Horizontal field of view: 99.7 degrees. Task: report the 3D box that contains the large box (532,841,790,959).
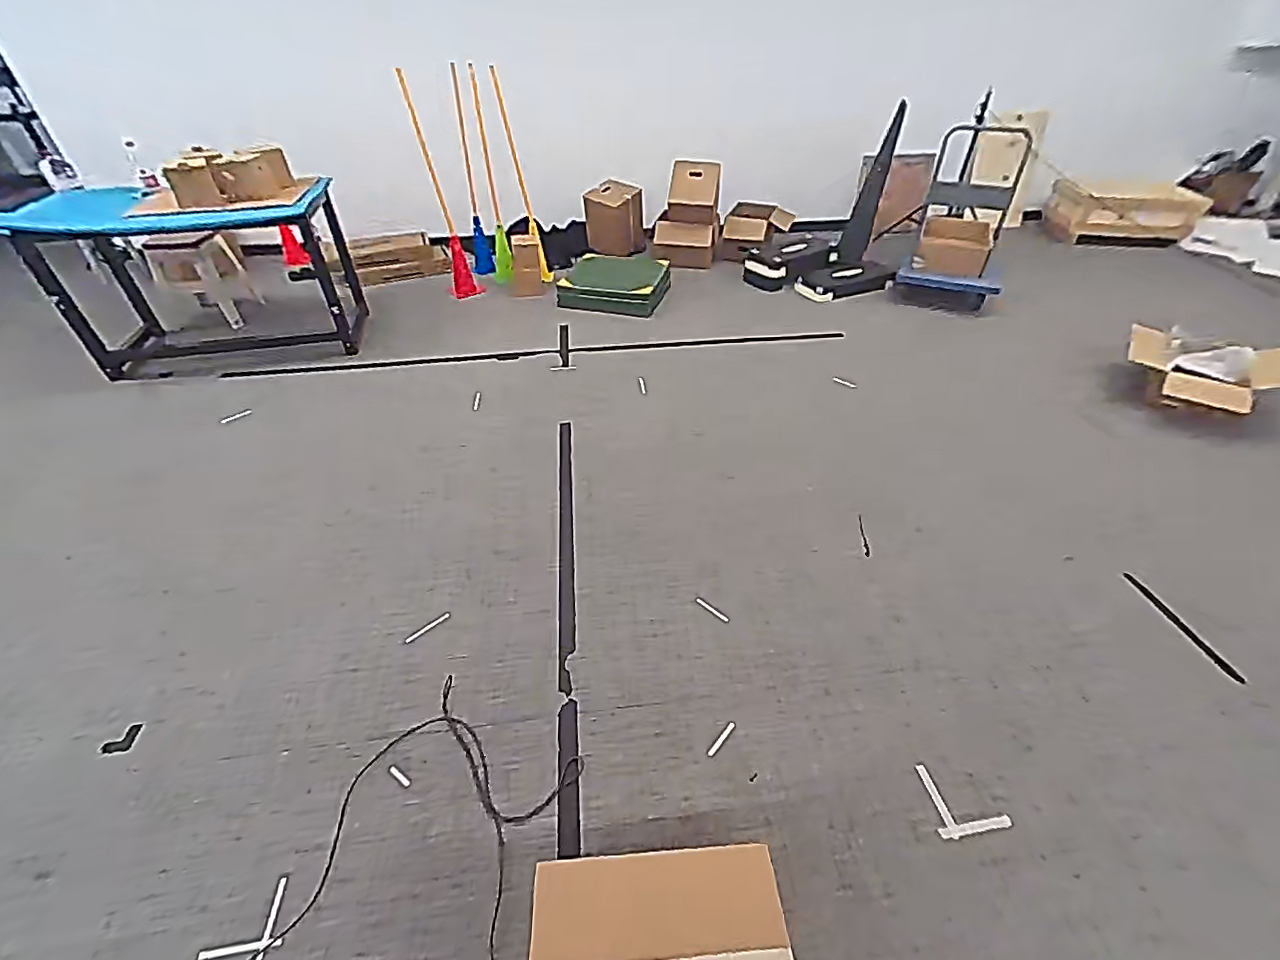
[{"bbox_3d":[0.031,0.859,0.917,0.408,0.320,0.320,-3,41,-3],"label":"large box"}]
